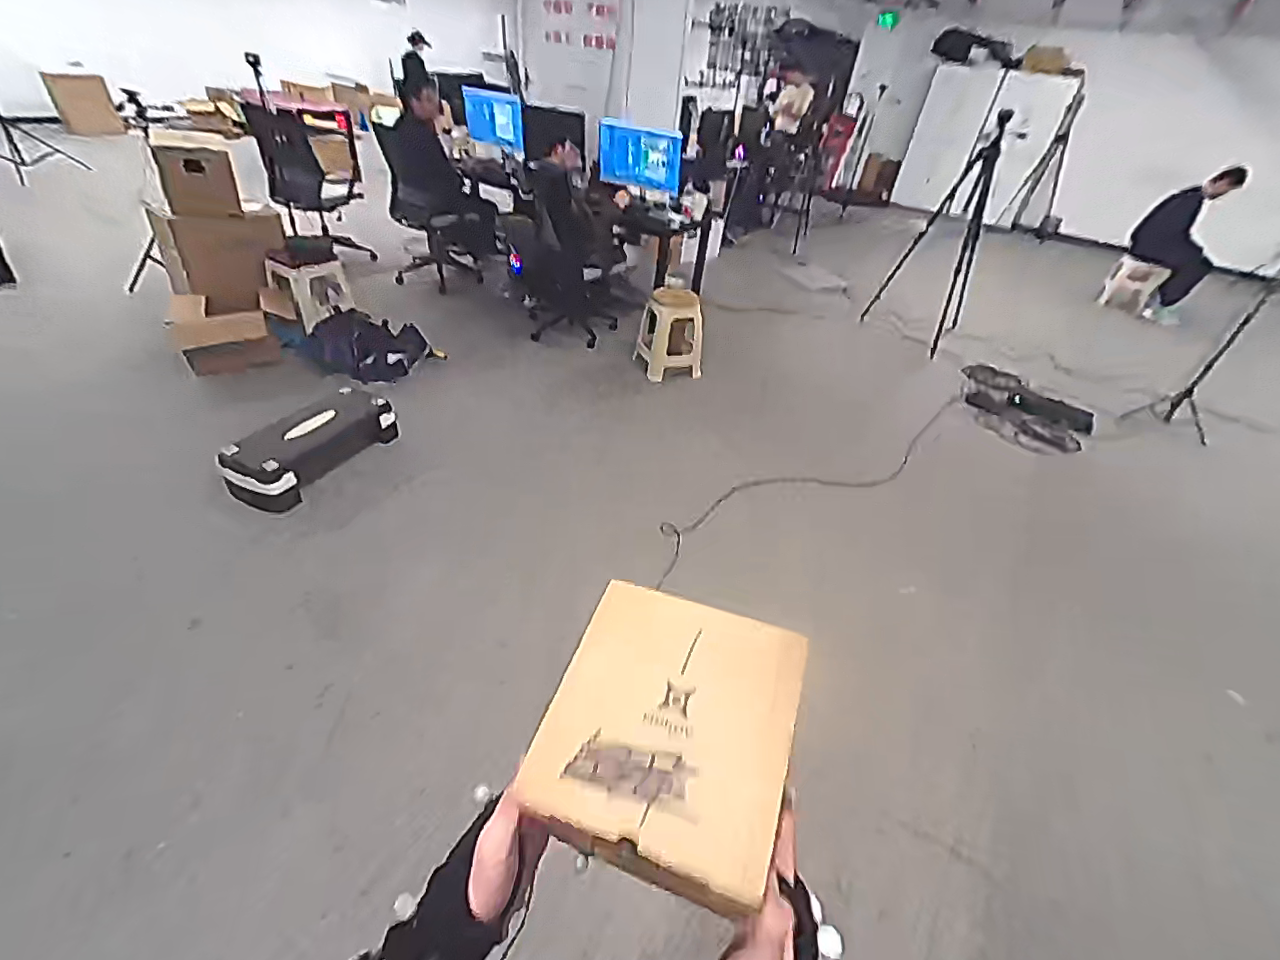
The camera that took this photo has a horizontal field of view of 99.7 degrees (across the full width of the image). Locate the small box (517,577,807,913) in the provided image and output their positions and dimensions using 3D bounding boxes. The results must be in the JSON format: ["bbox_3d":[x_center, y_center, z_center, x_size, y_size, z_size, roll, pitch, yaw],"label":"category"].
[{"bbox_3d":[0.027,0.215,0.442,0.168,0.176,0.179,14,48,16],"label":"small box"}]
